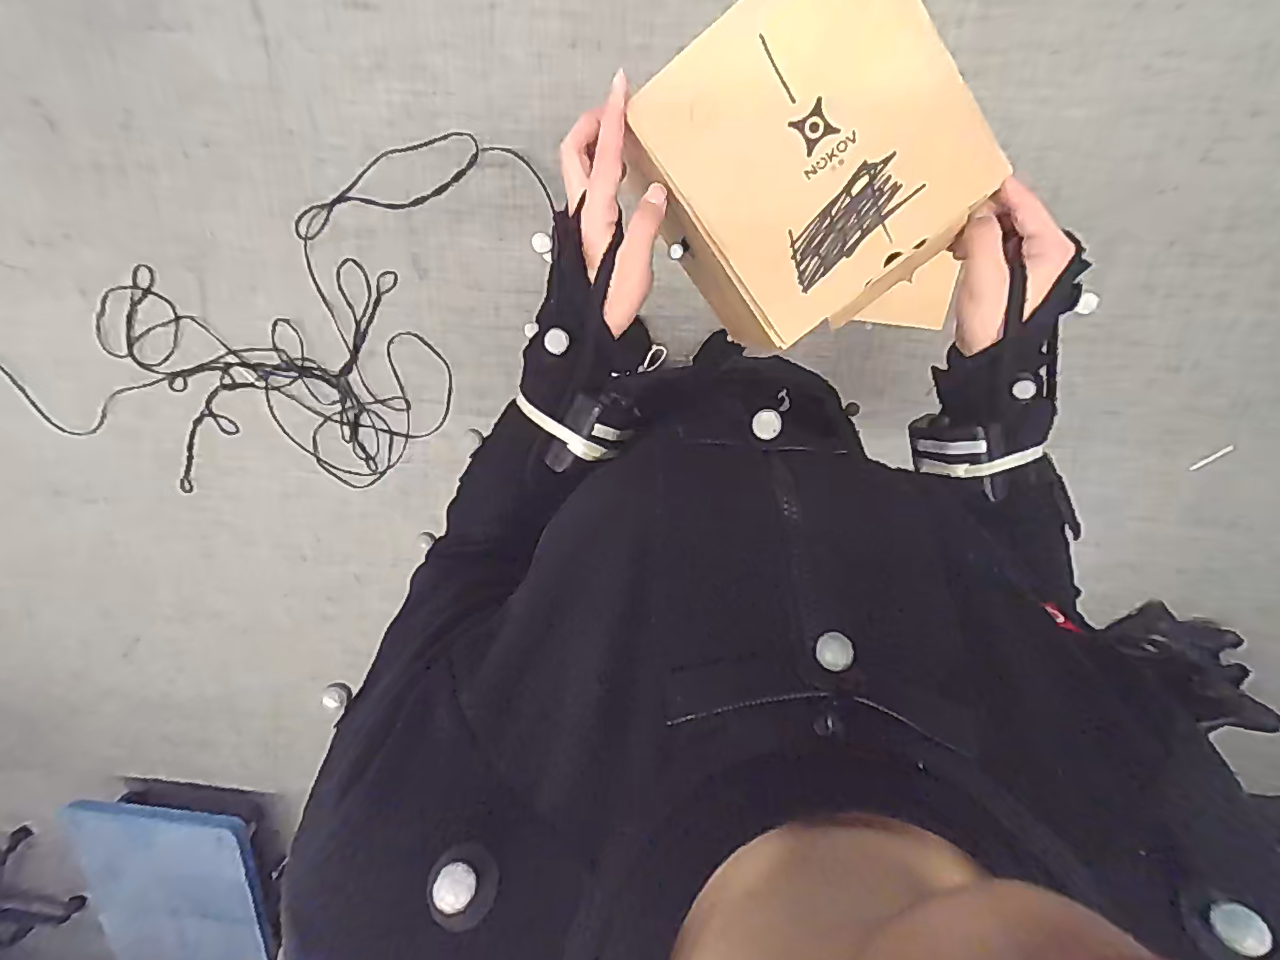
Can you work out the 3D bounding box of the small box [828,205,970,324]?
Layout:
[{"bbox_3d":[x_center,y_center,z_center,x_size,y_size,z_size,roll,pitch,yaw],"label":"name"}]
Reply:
[{"bbox_3d":[0.457,-0.389,0.990,0.168,0.176,0.179,7,109,2],"label":"small box"}]

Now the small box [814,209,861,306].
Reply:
[{"bbox_3d":[0.481,-0.454,1.139,0.168,0.176,0.179,7,109,1],"label":"small box"}]
